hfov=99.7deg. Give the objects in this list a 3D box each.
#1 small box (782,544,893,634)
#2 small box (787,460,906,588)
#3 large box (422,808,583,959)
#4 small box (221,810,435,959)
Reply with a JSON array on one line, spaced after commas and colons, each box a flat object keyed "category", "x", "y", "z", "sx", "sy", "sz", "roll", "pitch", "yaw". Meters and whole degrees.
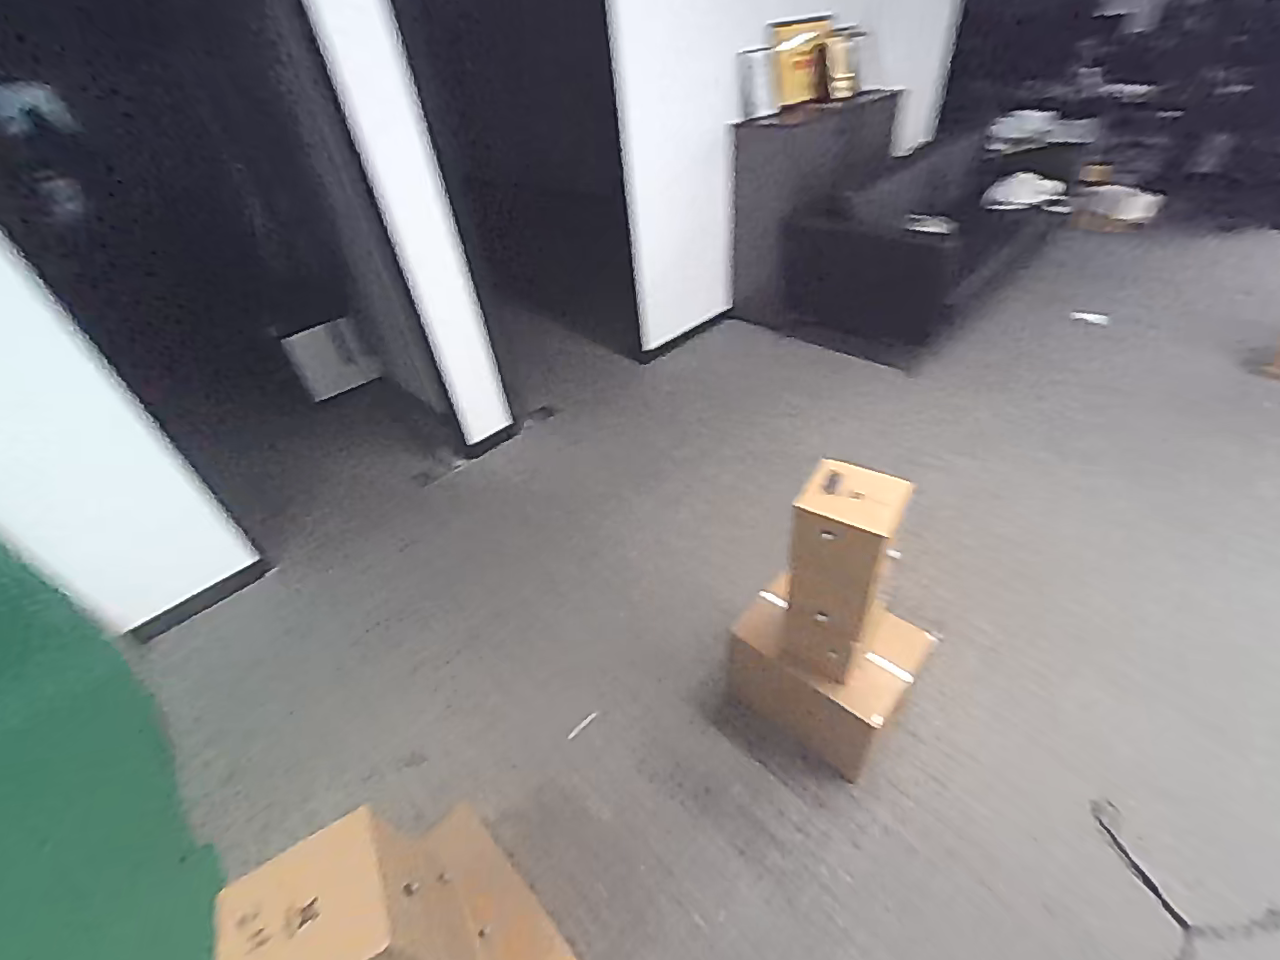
[{"category": "small box", "x": 0.434, "y": 0.215, "z": 1.205, "sx": 0.179, "sy": 0.176, "sz": 0.168, "roll": 21, "pitch": 49, "yaw": 30}, {"category": "small box", "x": 0.413, "y": 0.089, "z": 1.099, "sx": 0.179, "sy": 0.176, "sz": 0.168, "roll": 20, "pitch": 49, "yaw": 29}, {"category": "large box", "x": -0.326, "y": 0.966, "z": 1.061, "sx": 0.408, "sy": 0.320, "sz": 0.320, "roll": 27, "pitch": 51, "yaw": 36}, {"category": "small box", "x": -0.370, "y": 0.558, "z": 0.662, "sx": 0.179, "sy": 0.176, "sz": 0.168, "roll": -26, "pitch": 42, "yaw": -19}]
